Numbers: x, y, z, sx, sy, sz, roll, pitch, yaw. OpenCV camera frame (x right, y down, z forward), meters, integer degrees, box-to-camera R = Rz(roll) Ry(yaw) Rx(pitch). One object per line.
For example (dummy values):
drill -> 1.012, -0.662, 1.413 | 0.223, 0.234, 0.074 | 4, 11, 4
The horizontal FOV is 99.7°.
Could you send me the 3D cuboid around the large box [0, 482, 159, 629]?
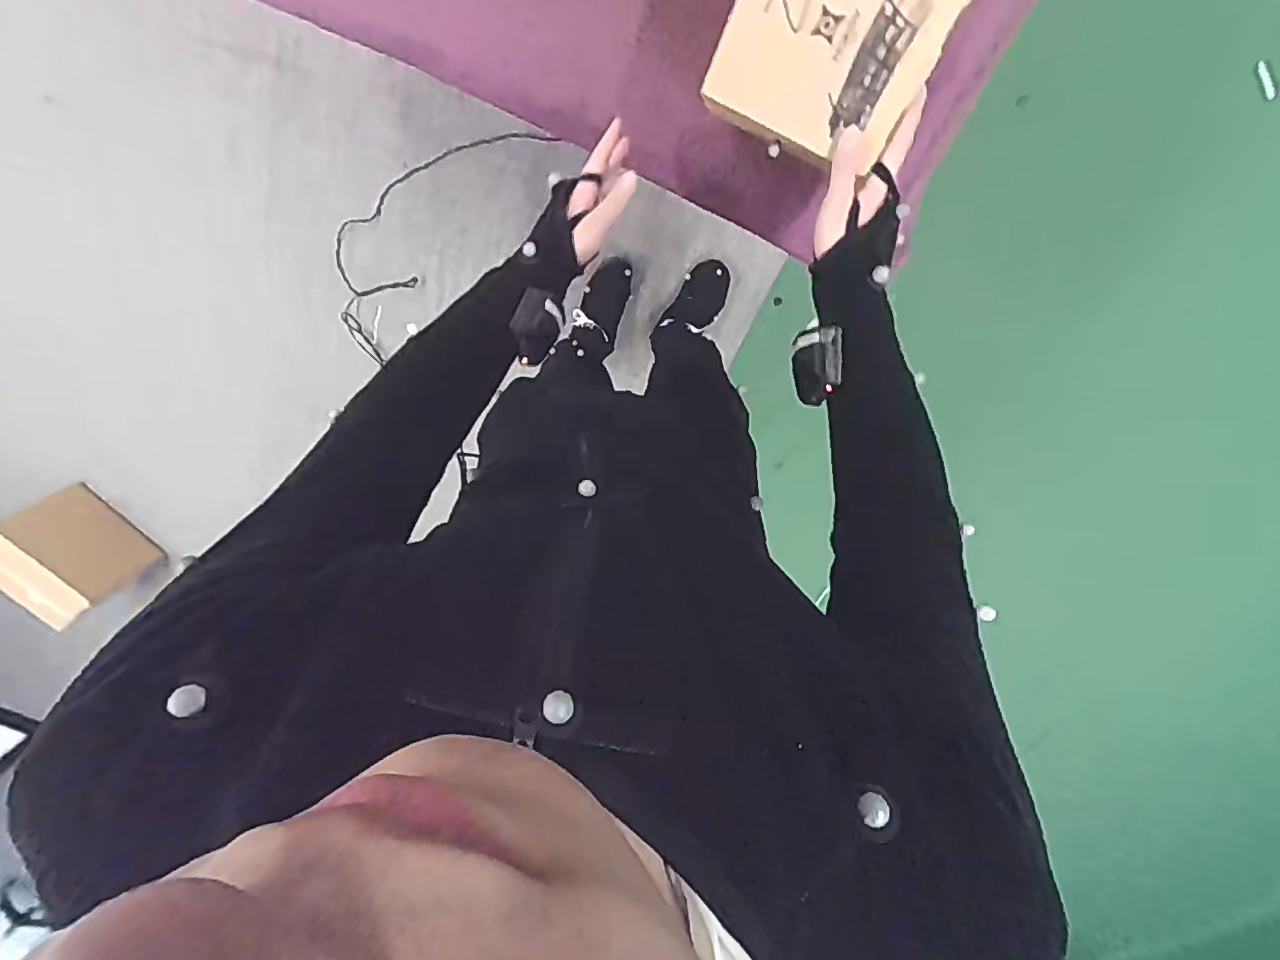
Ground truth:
large box -> -2.226, 0.288, 2.085 | 0.320, 0.320, 0.408 | -29, 112, 24
